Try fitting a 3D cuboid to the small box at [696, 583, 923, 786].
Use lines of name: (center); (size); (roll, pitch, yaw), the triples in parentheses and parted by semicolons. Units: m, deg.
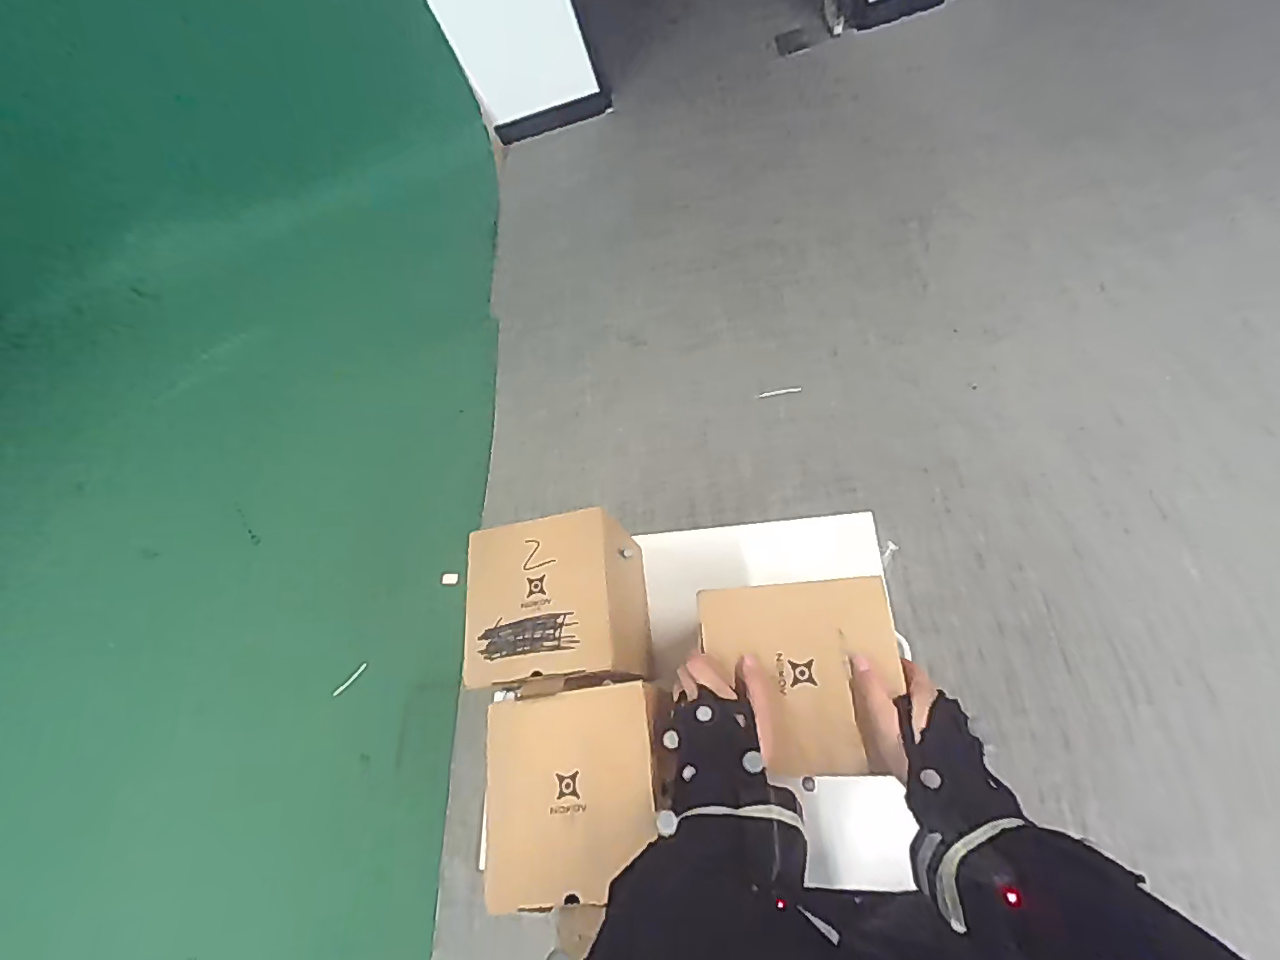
small box: (0.163, 0.210, 0.551); (0.179, 0.176, 0.168); (-8, 66, 13)
